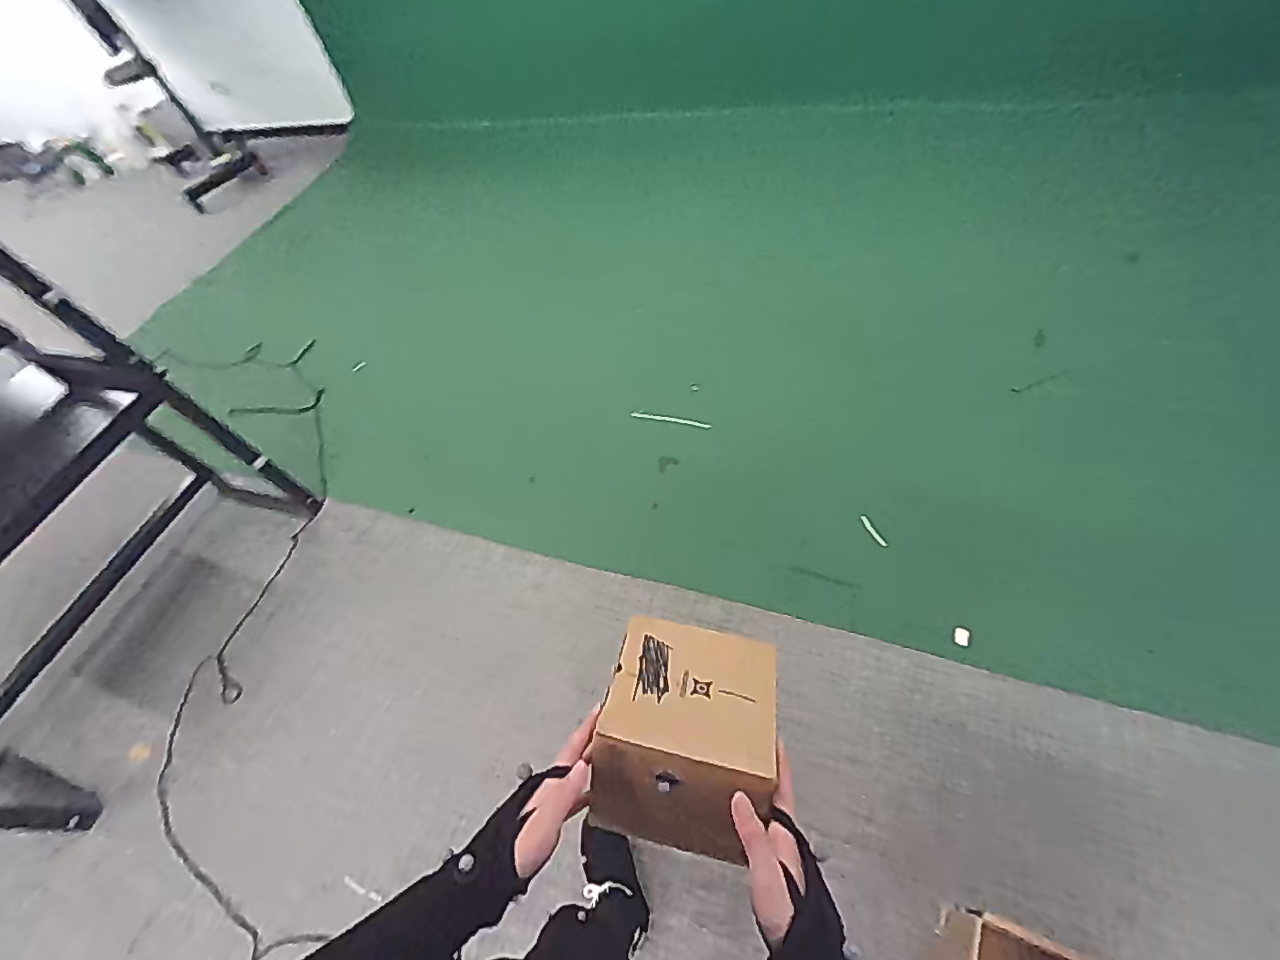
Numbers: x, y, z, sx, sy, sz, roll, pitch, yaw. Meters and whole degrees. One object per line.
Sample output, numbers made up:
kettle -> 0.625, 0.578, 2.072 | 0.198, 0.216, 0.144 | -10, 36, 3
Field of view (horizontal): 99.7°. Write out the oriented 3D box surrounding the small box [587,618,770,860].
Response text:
small box -> 0.044, 0.289, 0.612 | 0.179, 0.176, 0.168 | 11, 32, 8
